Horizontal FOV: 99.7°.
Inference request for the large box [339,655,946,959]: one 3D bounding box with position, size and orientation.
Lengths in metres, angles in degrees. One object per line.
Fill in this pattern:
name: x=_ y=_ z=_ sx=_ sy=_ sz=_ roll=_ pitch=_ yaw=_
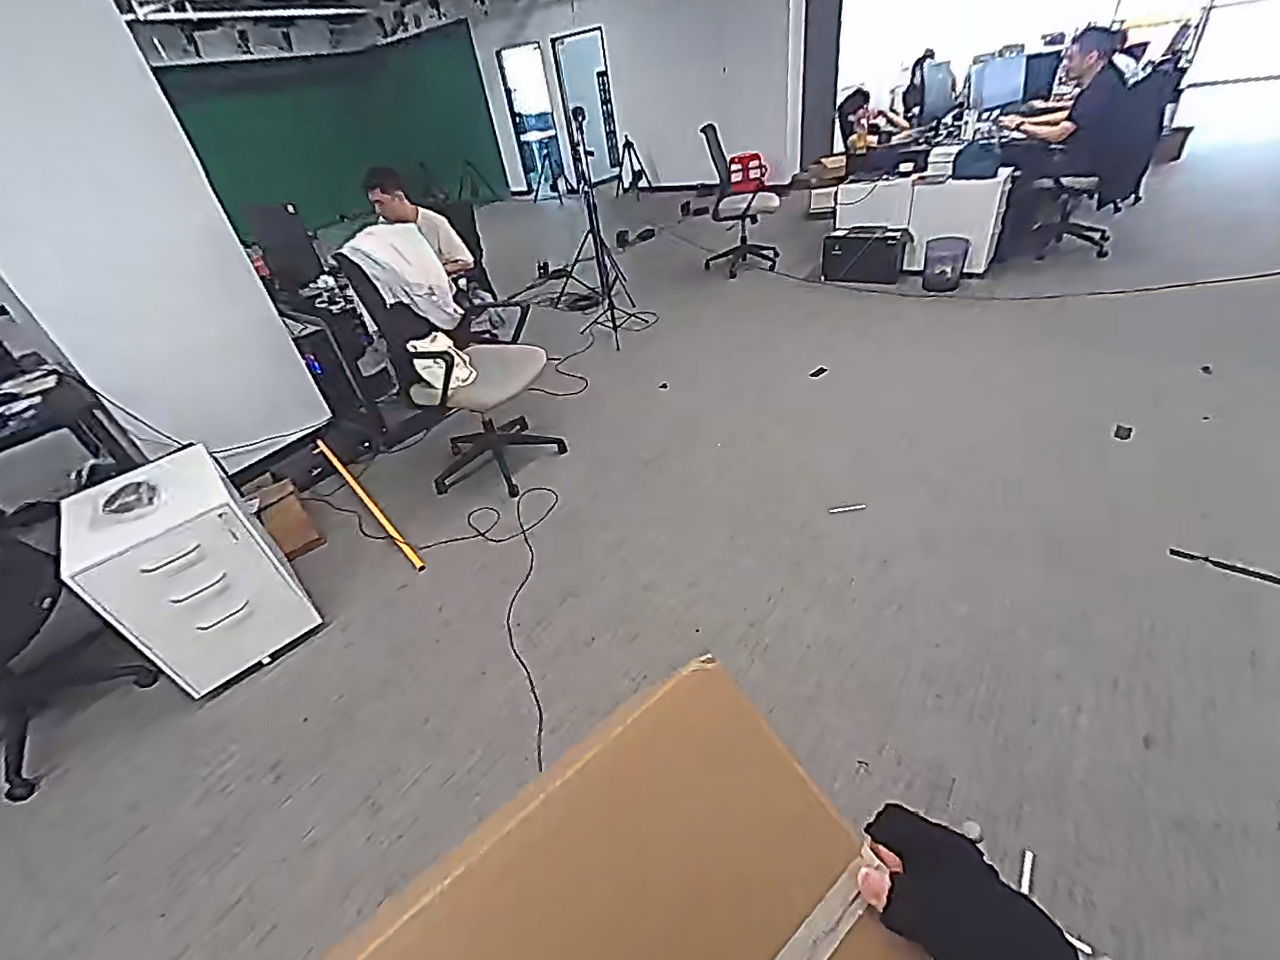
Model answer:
large box: x=-0.037 y=0.402 z=0.395 sx=0.408 sy=0.320 sz=0.320 roll=-34 pitch=75 yaw=-23
